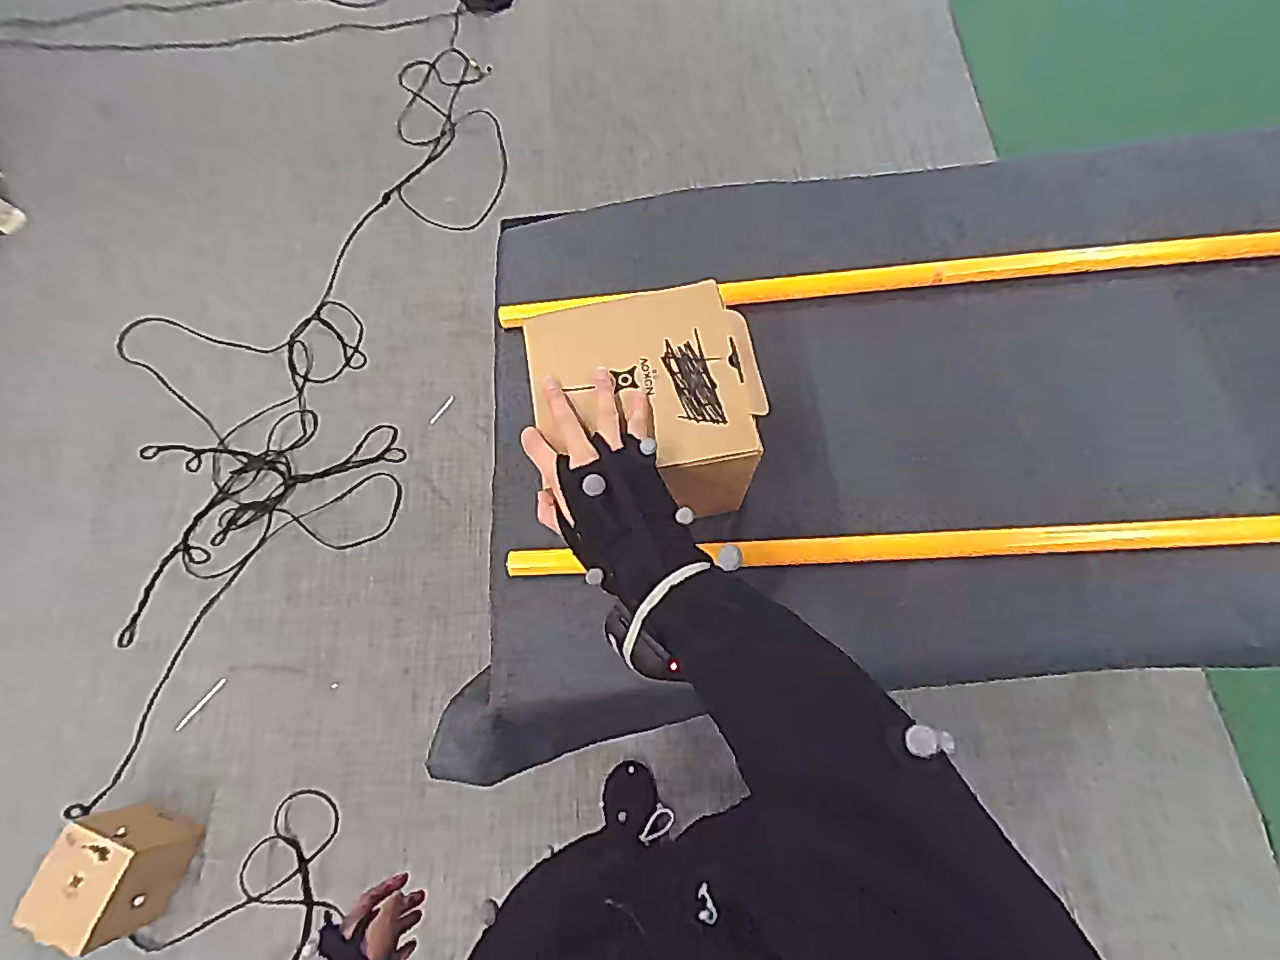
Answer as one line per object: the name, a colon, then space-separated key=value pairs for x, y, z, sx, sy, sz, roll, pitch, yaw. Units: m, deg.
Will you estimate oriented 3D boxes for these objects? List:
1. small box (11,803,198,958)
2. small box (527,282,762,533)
small box: x=-1.048 y=0.782 z=1.077 sx=0.168 sy=0.176 sz=0.179 roll=16 pitch=72 yaw=10
small box: x=0.003 y=-0.058 z=0.522 sx=0.179 sy=0.176 sz=0.168 roll=-11 pitch=70 yaw=0
